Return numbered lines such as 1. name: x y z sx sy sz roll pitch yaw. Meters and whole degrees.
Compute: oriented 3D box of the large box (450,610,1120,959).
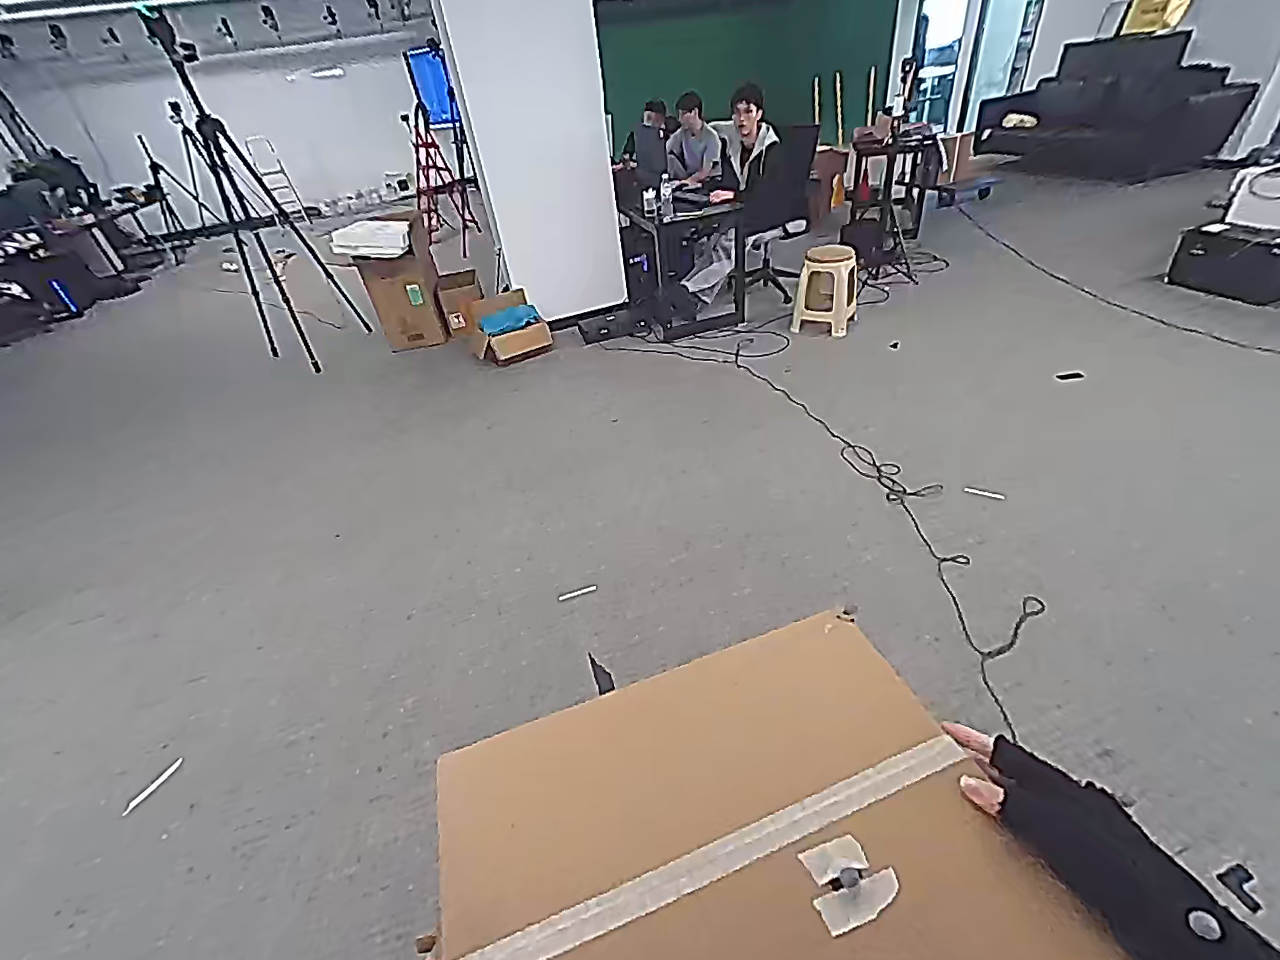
1. large box: 0.080 0.392 0.496 0.408 0.320 0.320 -16 39 -13
